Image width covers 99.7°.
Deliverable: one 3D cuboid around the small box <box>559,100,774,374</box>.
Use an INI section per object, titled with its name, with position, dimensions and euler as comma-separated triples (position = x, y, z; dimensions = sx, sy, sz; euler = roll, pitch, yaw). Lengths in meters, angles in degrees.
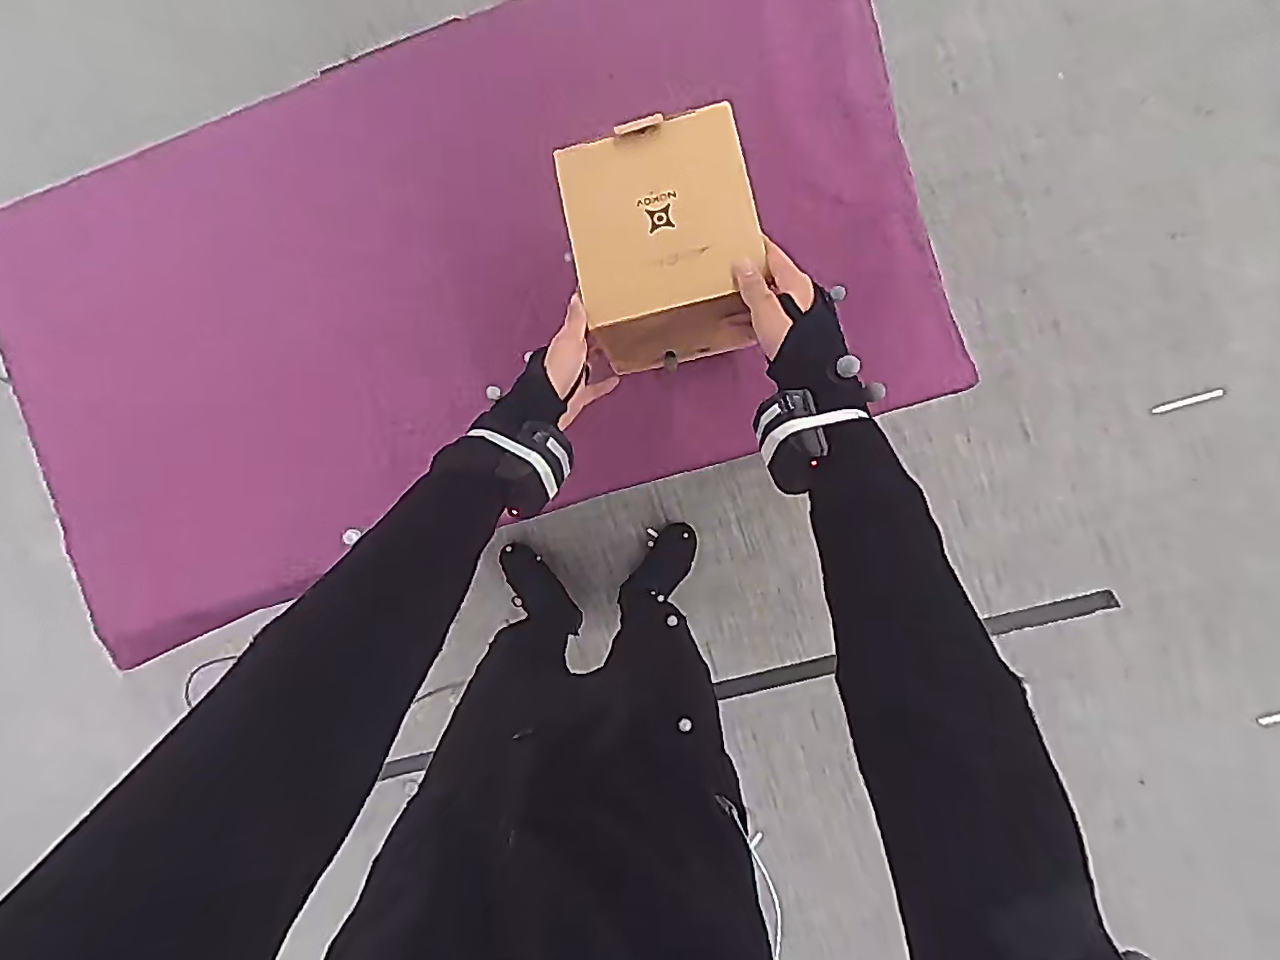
[small box]
position = 0.029, -0.227, 0.549
dimensions = 0.168, 0.176, 0.179
euler = -11, 84, 6
